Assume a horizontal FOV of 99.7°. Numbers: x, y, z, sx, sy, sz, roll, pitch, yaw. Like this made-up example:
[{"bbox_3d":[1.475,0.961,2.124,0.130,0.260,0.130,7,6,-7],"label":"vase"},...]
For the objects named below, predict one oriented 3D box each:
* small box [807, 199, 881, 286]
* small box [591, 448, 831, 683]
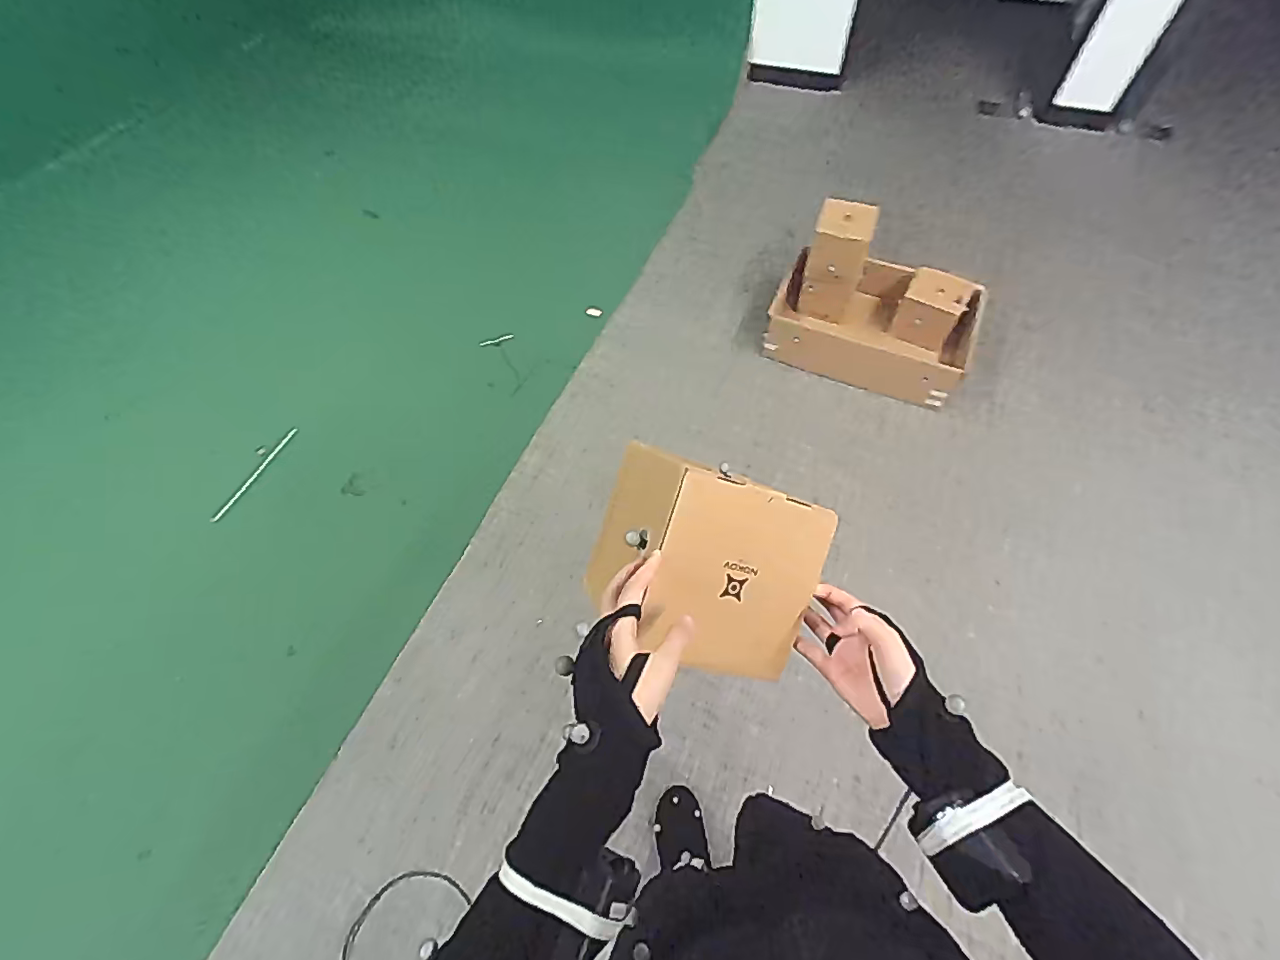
[{"bbox_3d":[0.644,-0.756,1.724,0.168,0.176,0.179,18,64,15],"label":"small box"},{"bbox_3d":[0.057,0.078,0.562,0.168,0.176,0.179,17,94,-19],"label":"small box"}]
